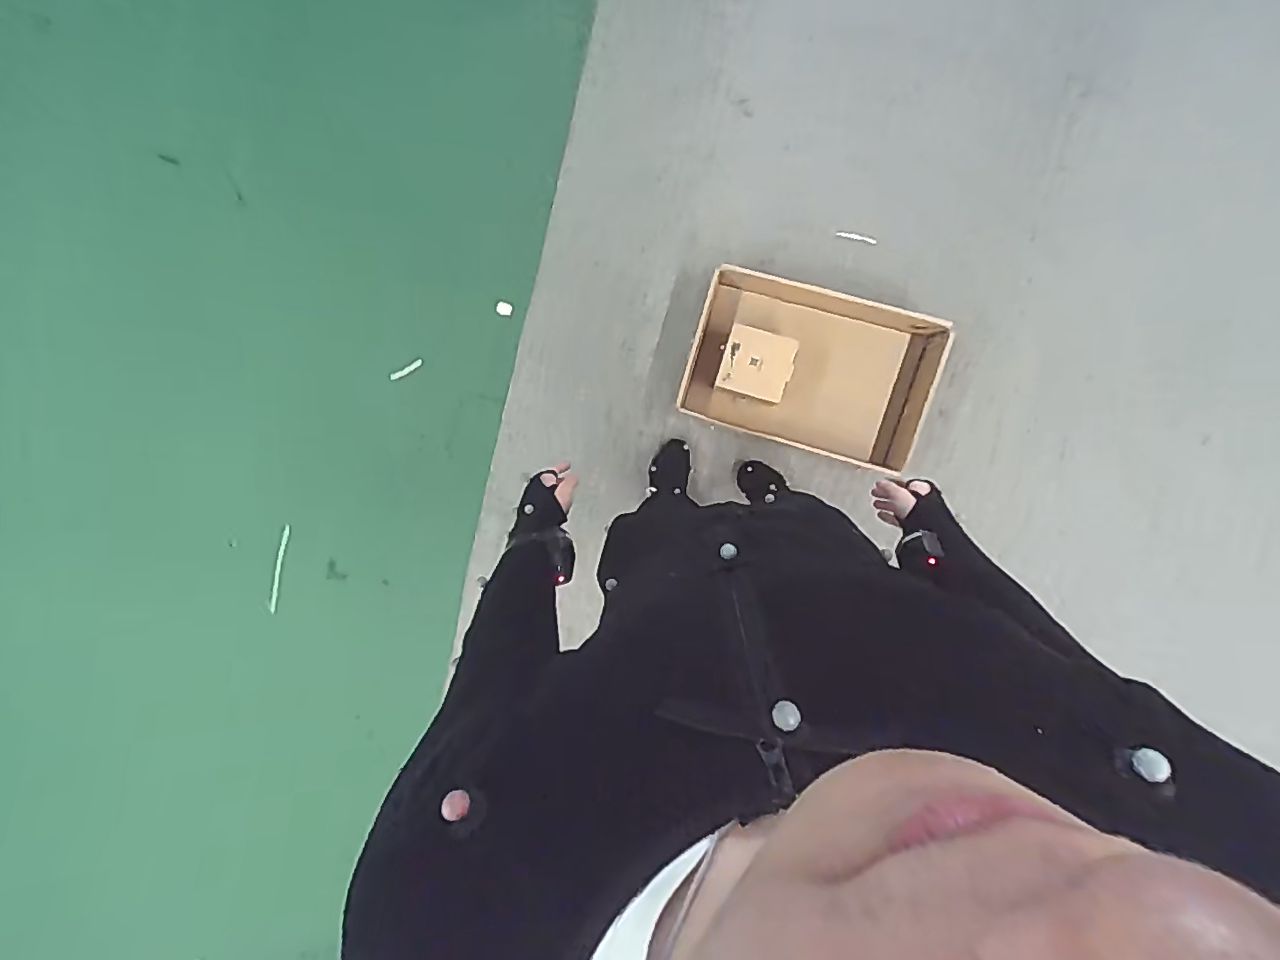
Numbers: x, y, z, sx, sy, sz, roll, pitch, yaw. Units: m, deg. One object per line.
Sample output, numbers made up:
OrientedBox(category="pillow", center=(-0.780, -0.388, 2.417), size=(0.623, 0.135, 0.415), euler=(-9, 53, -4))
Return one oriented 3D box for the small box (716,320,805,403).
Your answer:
OrientedBox(category="small box", center=(0.312, -0.307, 1.435), size=(0.179, 0.176, 0.168), euler=(18, 97, 4))
